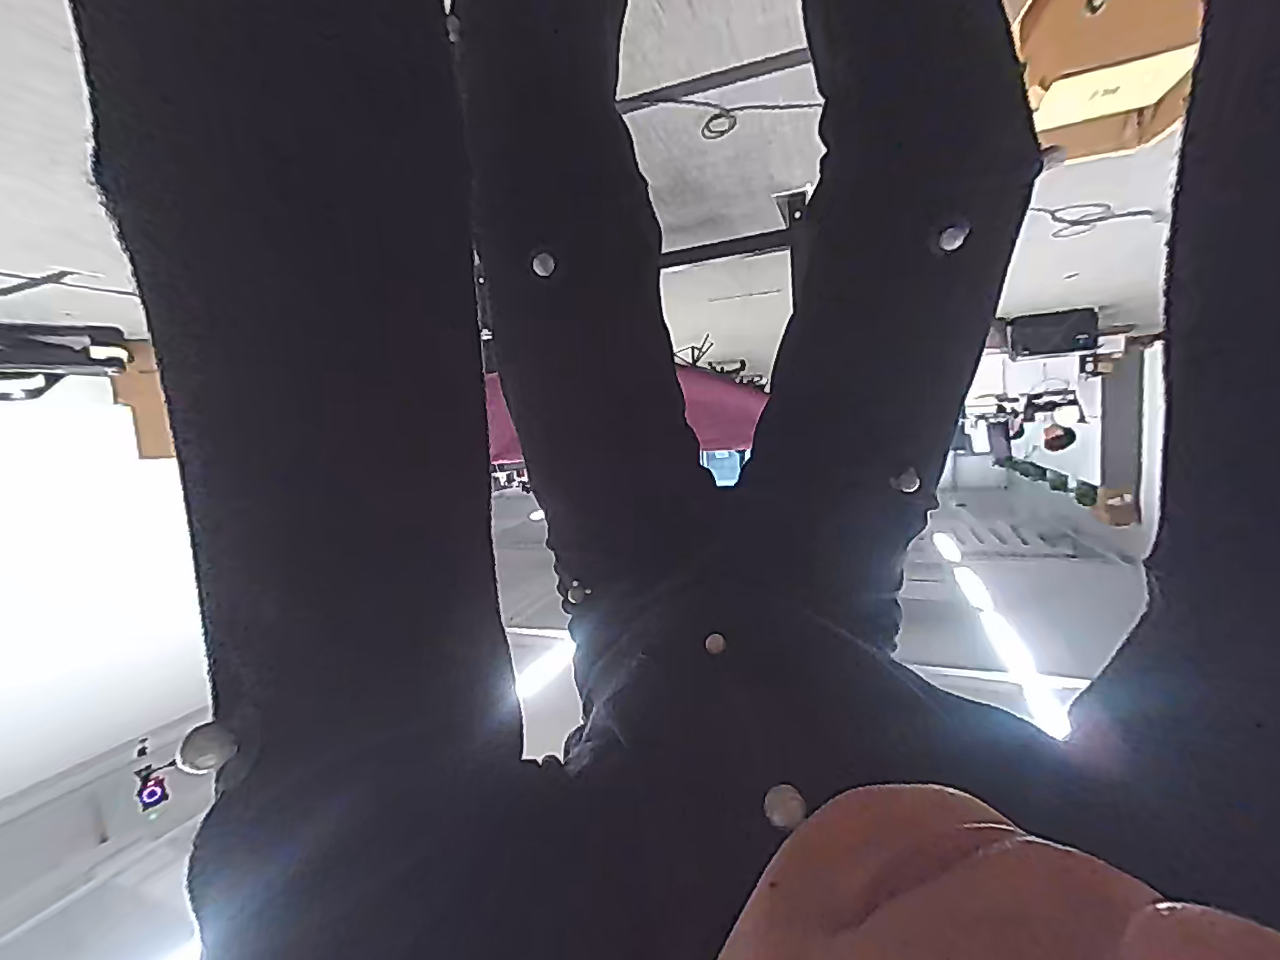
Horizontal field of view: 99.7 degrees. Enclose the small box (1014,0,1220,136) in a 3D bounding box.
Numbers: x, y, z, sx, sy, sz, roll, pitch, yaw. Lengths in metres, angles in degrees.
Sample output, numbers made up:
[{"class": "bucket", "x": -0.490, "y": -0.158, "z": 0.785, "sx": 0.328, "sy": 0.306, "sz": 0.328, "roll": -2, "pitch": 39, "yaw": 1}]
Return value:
[{"class": "small box", "x": 0.650, "y": -0.627, "z": 0.757, "sx": 0.179, "sy": 0.176, "sz": 0.168, "roll": -2, "pitch": -173, "yaw": 21}]
